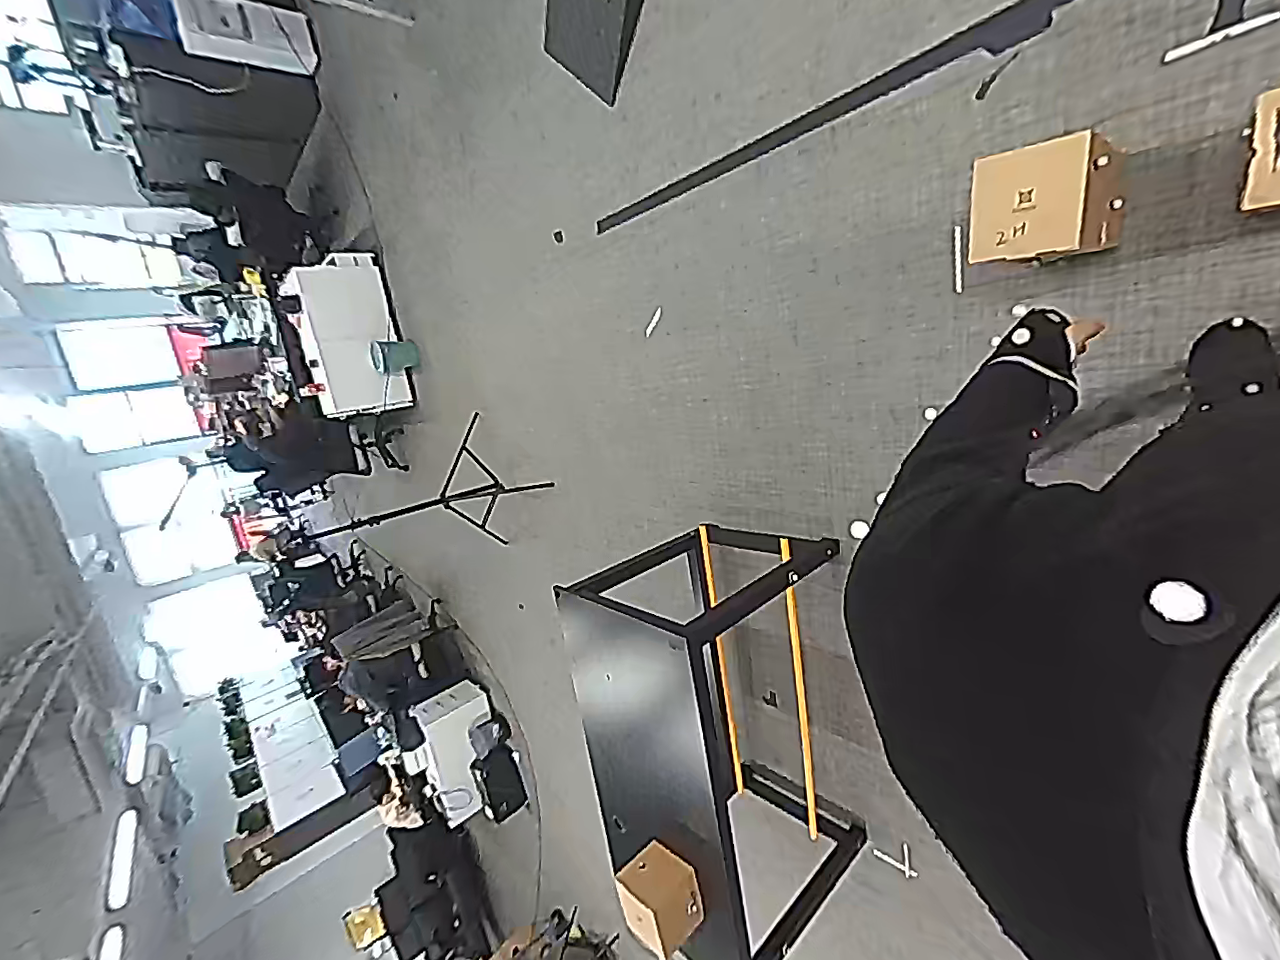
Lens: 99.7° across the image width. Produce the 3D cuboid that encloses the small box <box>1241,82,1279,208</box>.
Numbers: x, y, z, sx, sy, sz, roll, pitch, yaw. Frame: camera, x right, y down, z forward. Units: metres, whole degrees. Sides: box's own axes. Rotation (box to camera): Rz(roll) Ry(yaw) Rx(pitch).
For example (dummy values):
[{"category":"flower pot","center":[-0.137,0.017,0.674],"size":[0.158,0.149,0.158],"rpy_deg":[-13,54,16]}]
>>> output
[{"category":"small box","center":[1.055,-0.522,0.818],"size":[0.179,0.176,0.168],"rpy_deg":[9,112,47]}]

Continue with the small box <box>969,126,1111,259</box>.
[{"category":"small box","center":[0.713,-0.499,0.966],"size":[0.168,0.176,0.179],"rpy_deg":[12,115,48]}]

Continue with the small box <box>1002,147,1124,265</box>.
[{"category":"small box","center":[0.836,-0.540,1.070],"size":[0.168,0.176,0.179],"rpy_deg":[4,109,50]}]

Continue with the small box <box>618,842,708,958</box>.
[{"category":"small box","center":[0.067,1.196,1.561],"size":[0.179,0.176,0.168],"rpy_deg":[-4,103,50]}]
